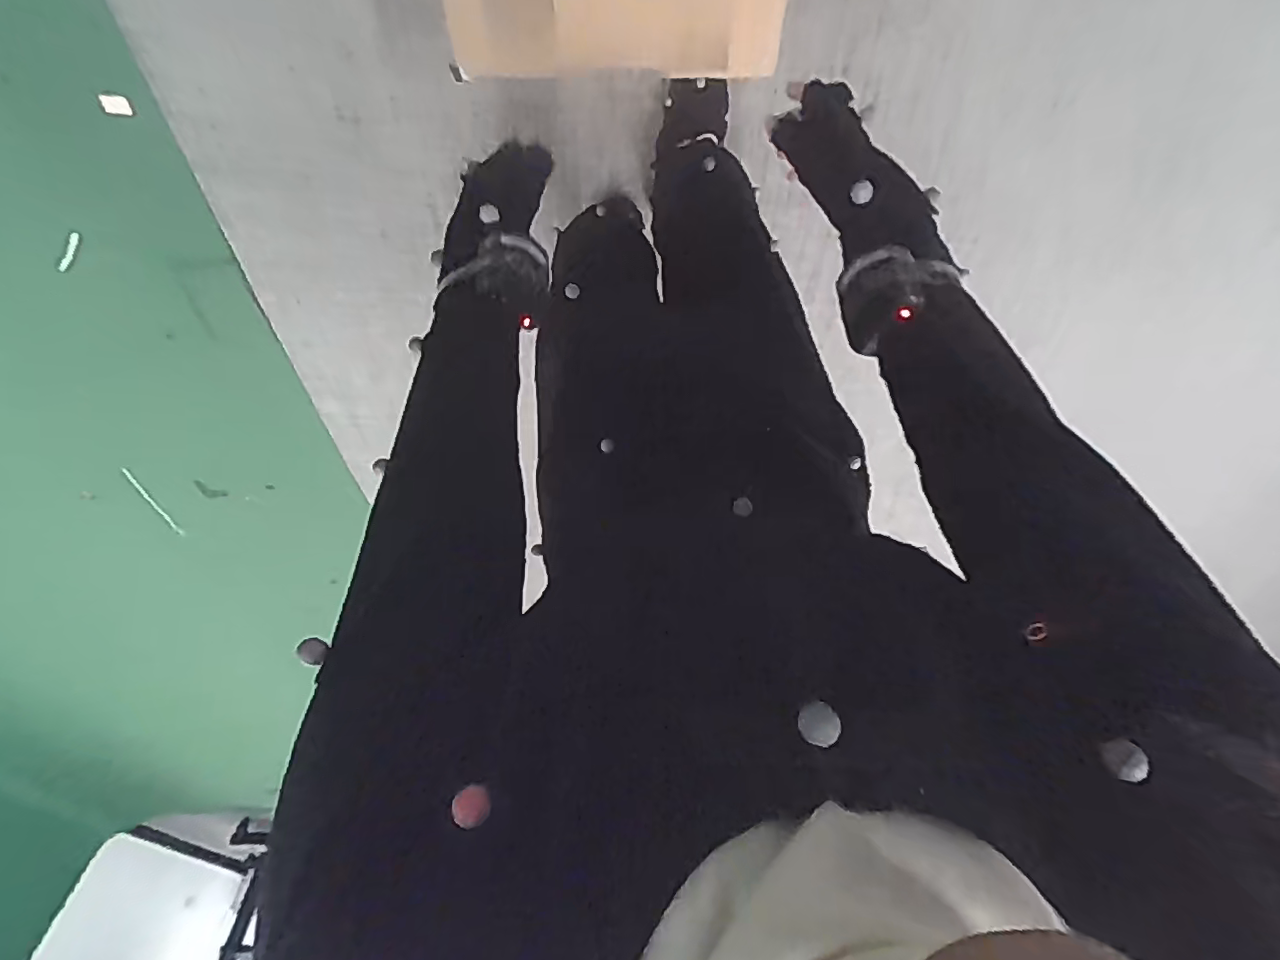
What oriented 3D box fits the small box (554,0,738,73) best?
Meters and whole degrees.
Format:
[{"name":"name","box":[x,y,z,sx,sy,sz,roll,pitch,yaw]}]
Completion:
[{"name":"small box","box":[0.006,-0.527,0.544,0.179,0.176,0.168,-1,137,0]}]
